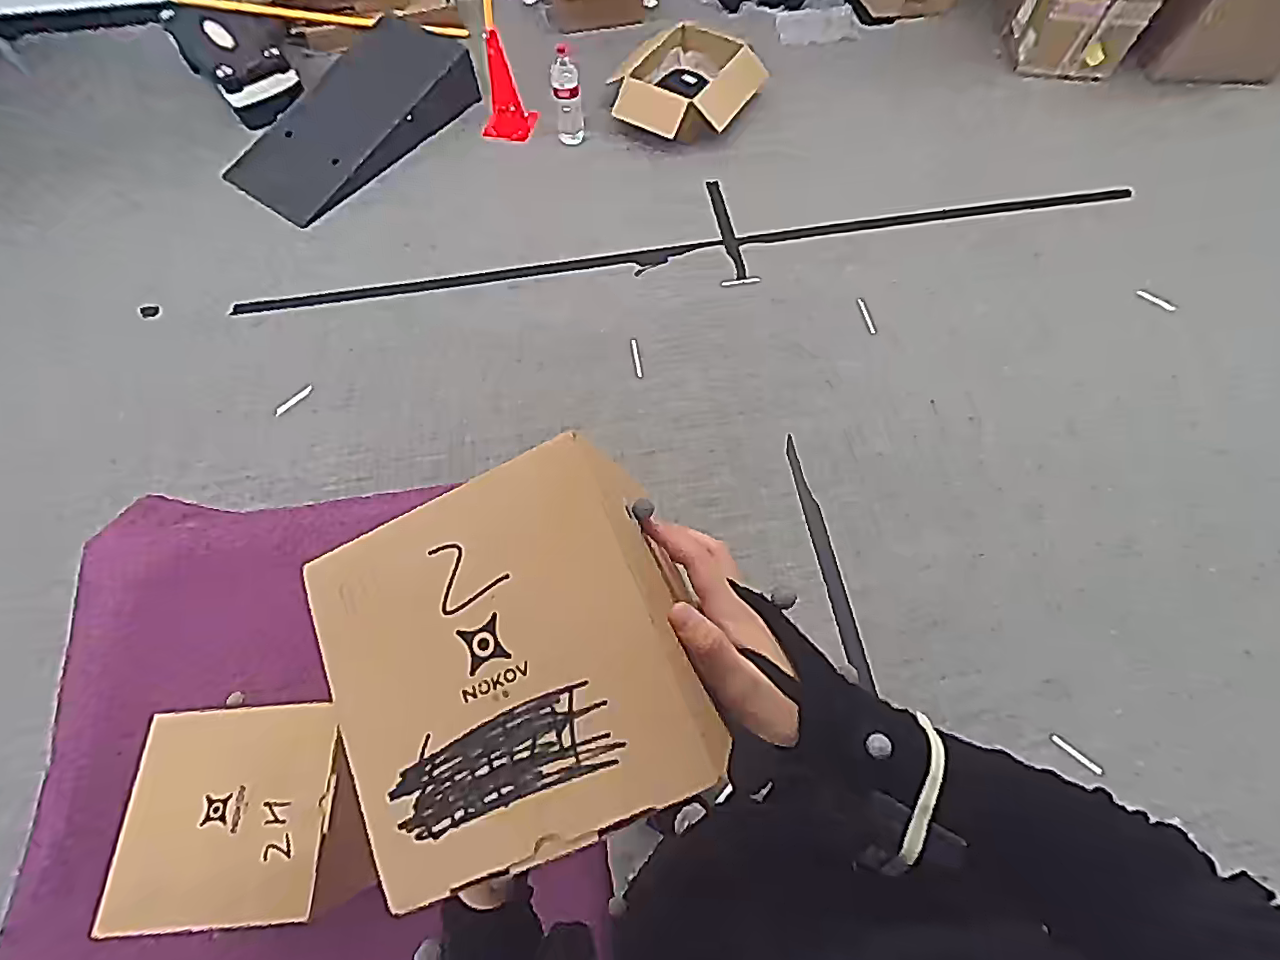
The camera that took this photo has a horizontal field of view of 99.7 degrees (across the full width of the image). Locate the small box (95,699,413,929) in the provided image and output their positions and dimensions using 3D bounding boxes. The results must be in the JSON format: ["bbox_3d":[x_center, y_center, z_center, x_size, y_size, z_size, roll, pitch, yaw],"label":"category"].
[{"bbox_3d":[-0.353,0.315,0.538,0.179,0.176,0.168,-3,66,-1],"label":"small box"}]
